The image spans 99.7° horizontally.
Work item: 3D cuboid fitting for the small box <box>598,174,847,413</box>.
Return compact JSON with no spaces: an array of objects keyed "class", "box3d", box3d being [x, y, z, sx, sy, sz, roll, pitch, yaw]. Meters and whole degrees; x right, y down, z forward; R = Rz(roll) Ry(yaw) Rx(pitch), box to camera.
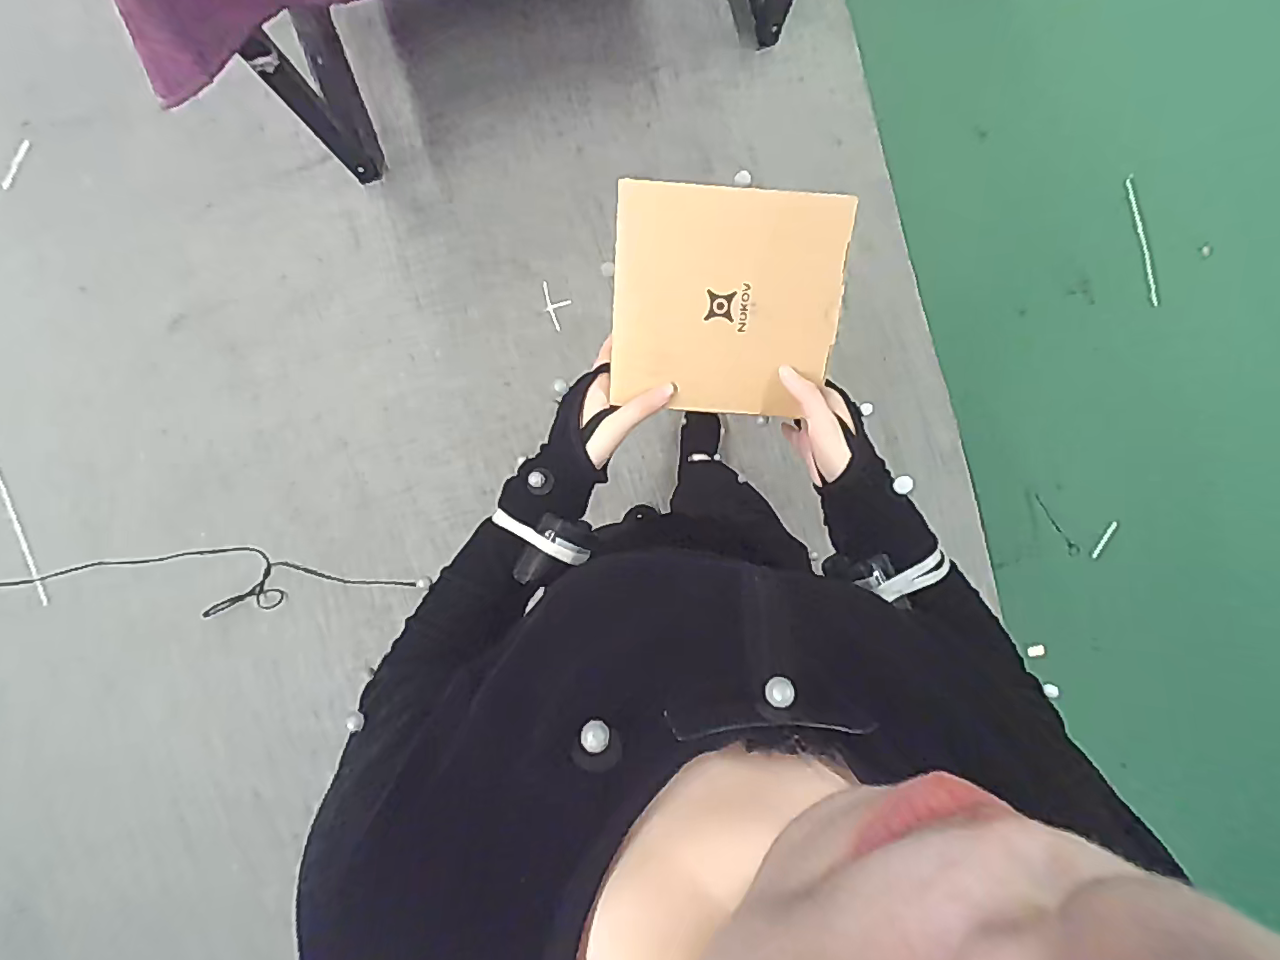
[{"class":"small box","box3d":[0.058,-0.163,0.488,0.179,0.176,0.168,3,110,-2]}]
